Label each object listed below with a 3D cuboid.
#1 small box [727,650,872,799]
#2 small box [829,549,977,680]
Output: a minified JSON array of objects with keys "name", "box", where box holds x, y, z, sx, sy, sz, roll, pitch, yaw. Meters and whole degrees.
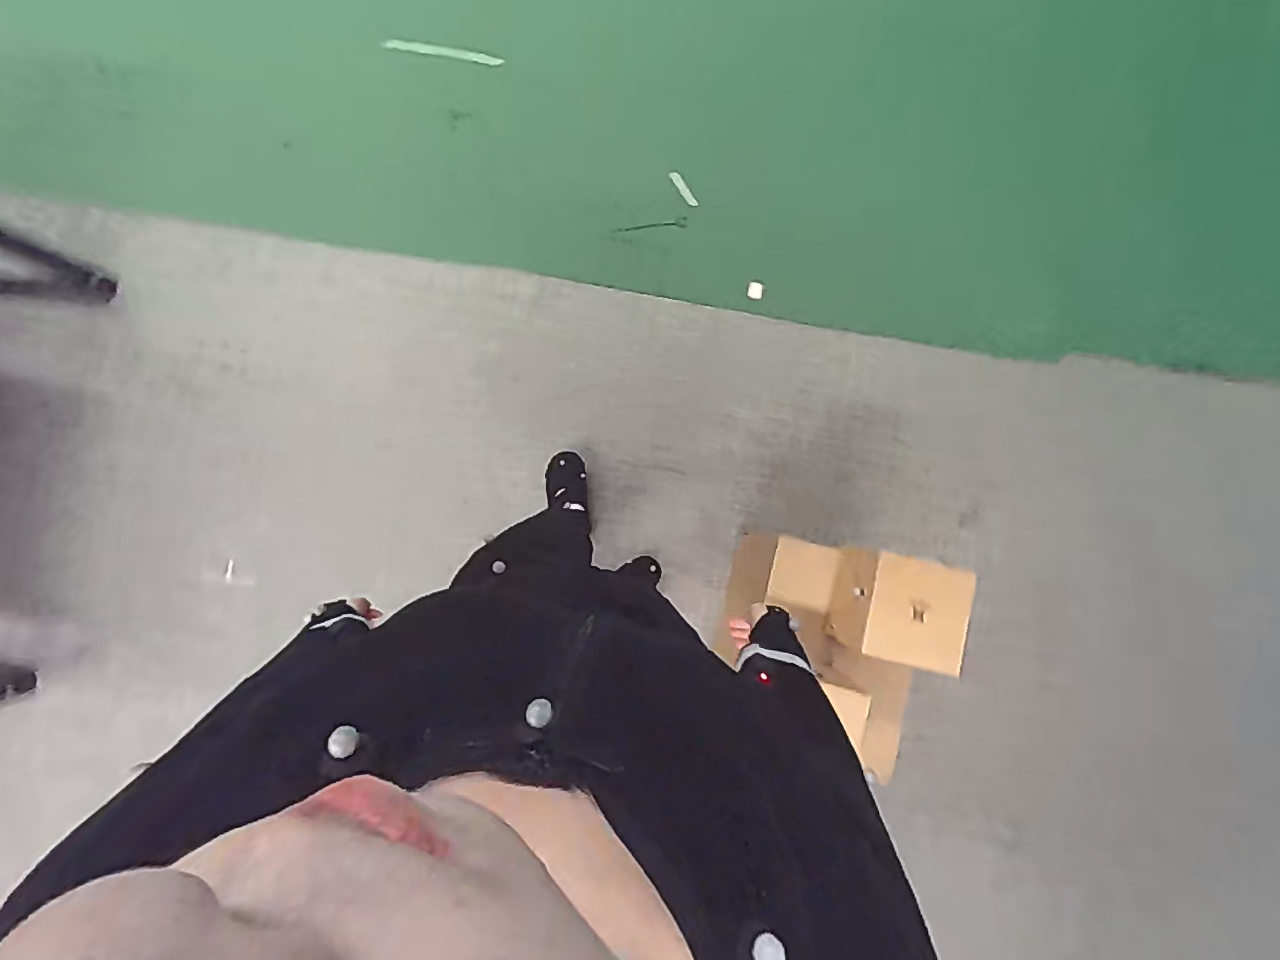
[{"name":"small box","box":[0.268,0.413,0.947,0.179,0.176,0.168,17,85,0]},{"name":"small box","box":[0.456,0.229,0.965,0.168,0.176,0.179,15,84,0]}]
